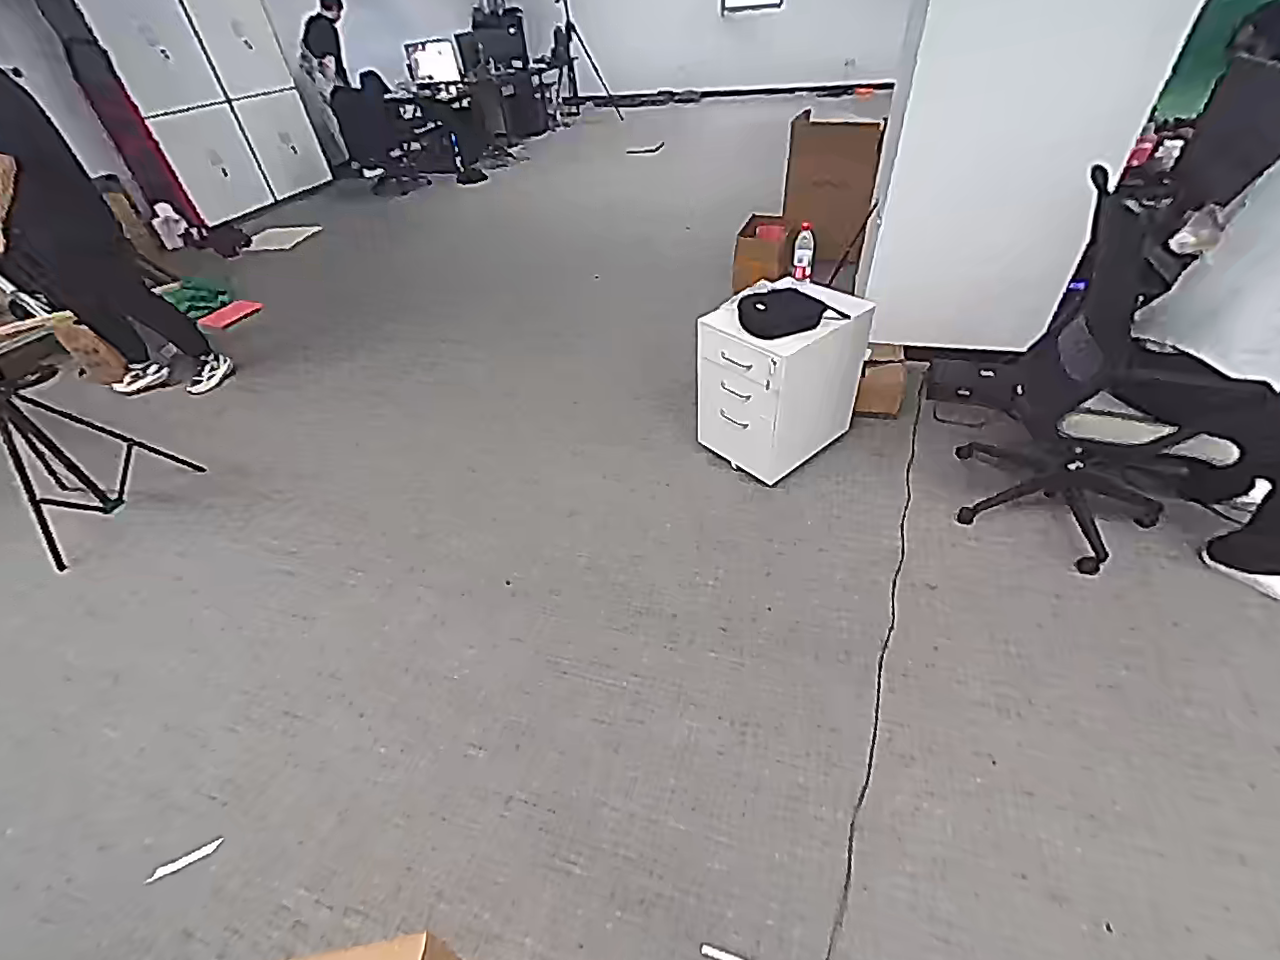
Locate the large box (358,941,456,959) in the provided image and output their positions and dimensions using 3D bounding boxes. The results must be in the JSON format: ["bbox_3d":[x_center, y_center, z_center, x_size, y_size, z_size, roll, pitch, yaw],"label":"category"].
[{"bbox_3d":[-0.315,0.807,0.600,0.320,0.408,0.320,-17,28,7],"label":"large box"}]
